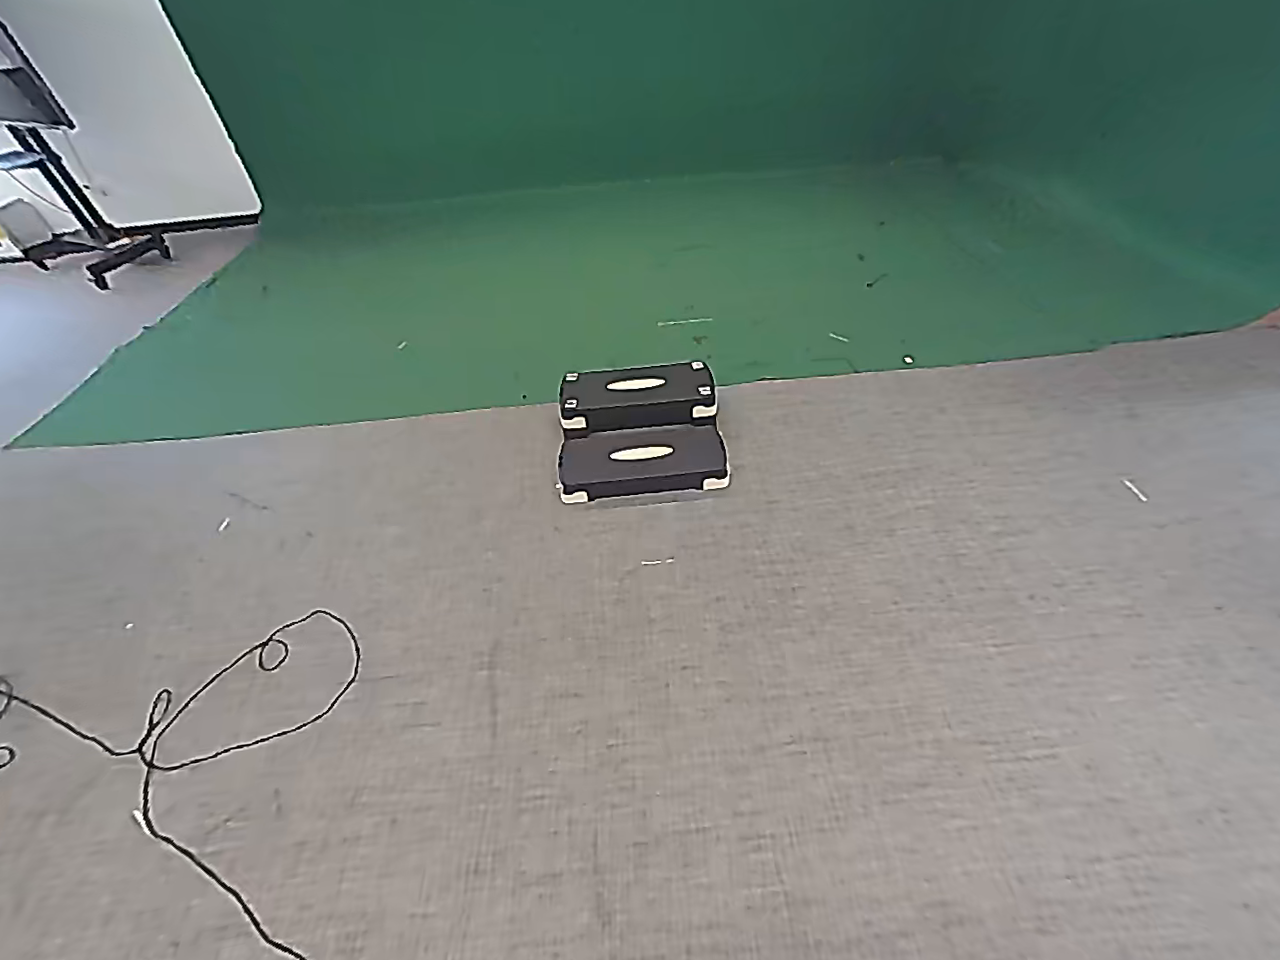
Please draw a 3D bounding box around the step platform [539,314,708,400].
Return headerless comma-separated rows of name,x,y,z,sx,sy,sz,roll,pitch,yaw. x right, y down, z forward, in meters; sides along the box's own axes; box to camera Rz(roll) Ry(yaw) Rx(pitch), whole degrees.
step platform,-0.064,-0.514,2.252,0.684,0.204,0.286,-6,45,0
